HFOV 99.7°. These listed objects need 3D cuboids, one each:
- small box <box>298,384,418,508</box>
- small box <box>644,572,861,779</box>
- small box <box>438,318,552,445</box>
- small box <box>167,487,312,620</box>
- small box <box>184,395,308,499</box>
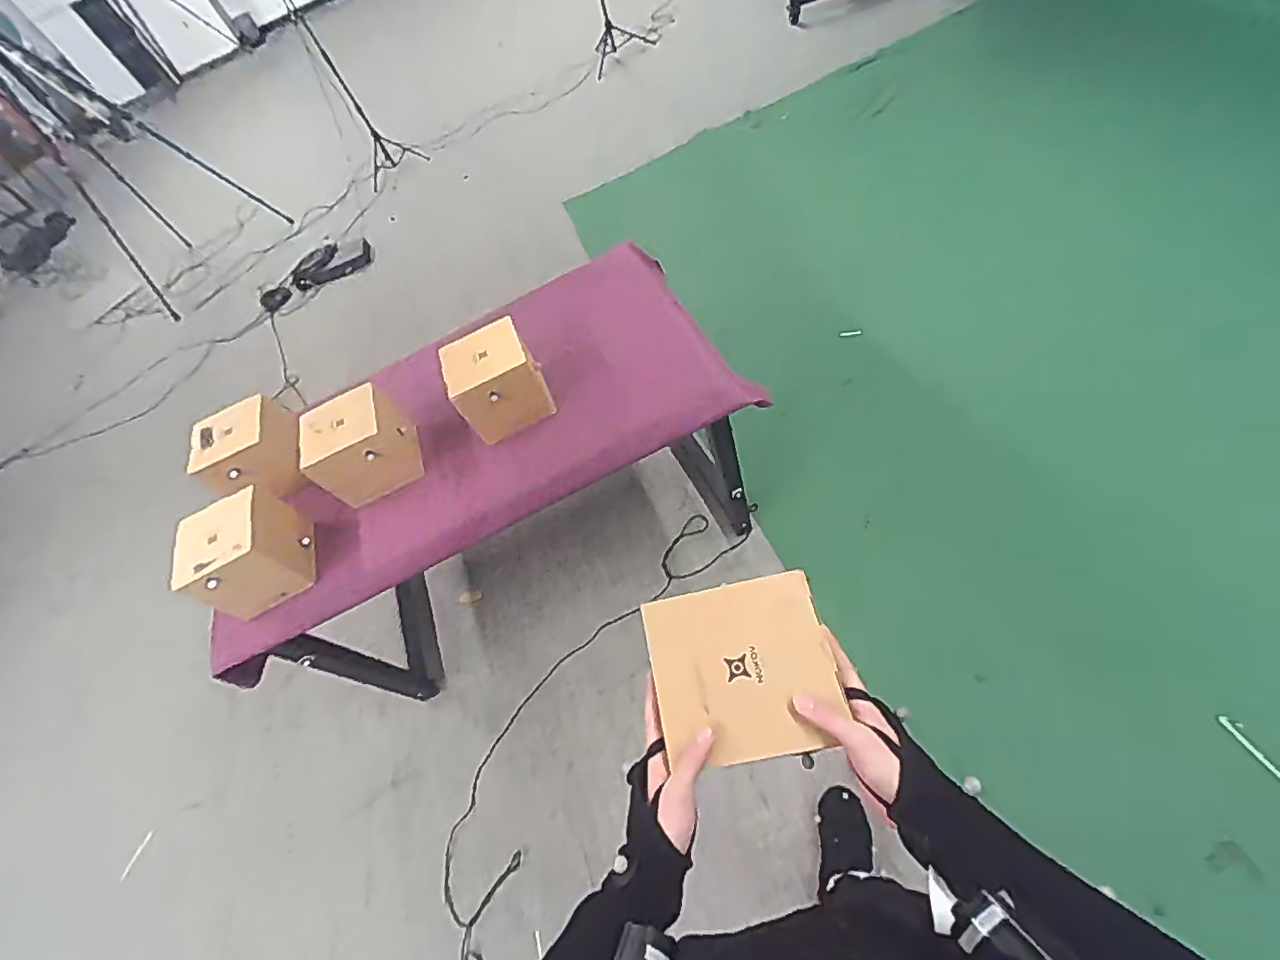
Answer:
[{"bbox_3d":[-0.607,-0.069,1.180,0.179,0.176,0.168,-26,55,0],"label":"small box"},{"bbox_3d":[0.113,0.216,0.589,0.179,0.176,0.168,-13,61,5],"label":"small box"},{"bbox_3d":[-0.308,-0.210,1.181,0.179,0.176,0.168,-27,55,1],"label":"small box"},{"bbox_3d":[-0.797,0.153,1.097,0.168,0.176,0.179,-28,54,-1],"label":"small box"},{"bbox_3d":[-0.905,-0.059,1.264,0.179,0.176,0.168,-26,56,-1],"label":"small box"}]
